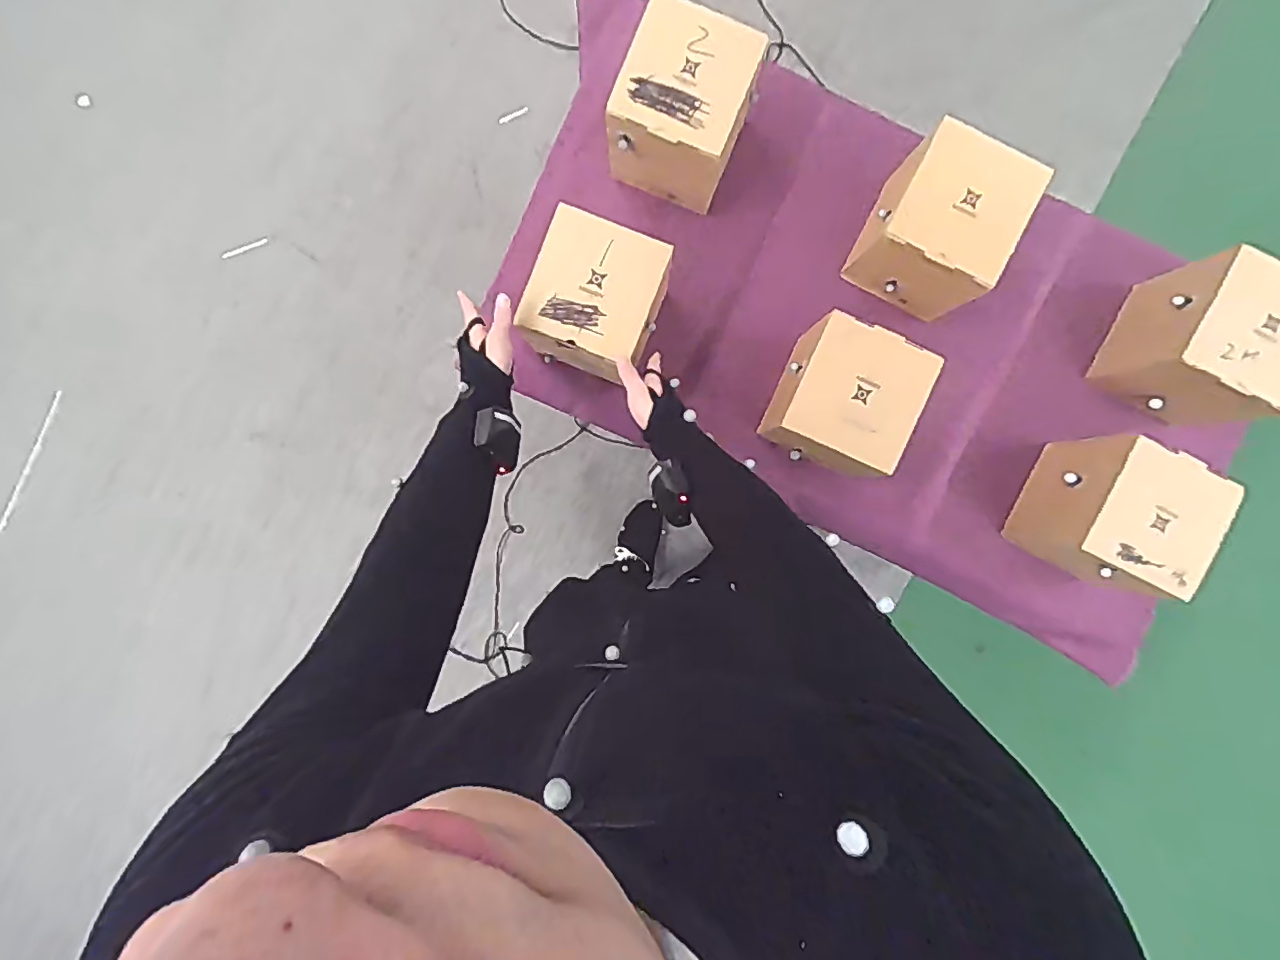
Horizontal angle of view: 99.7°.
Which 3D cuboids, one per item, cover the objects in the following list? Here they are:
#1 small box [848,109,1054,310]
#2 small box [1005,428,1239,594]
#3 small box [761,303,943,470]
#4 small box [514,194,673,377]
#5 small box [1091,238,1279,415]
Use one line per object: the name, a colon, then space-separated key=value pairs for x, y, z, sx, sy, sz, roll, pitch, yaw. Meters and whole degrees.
small box: x=0.436 y=-0.379 z=0.793 sx=0.168 sy=0.176 sz=0.179 roll=26 pitch=93 yaw=-2
small box: x=0.699 y=0.041 z=0.809 sx=0.168 sy=0.176 sz=0.179 roll=27 pitch=90 yaw=0
small box: x=0.297 y=-0.127 z=0.801 sx=0.168 sy=0.176 sz=0.179 roll=25 pitch=91 yaw=-1
small box: x=-0.062 y=-0.267 z=0.790 sx=0.168 sy=0.176 sz=0.179 roll=21 pitch=90 yaw=-2
small box: x=0.831 y=-0.211 z=0.797 sx=0.168 sy=0.176 sz=0.179 roll=27 pitch=93 yaw=1
